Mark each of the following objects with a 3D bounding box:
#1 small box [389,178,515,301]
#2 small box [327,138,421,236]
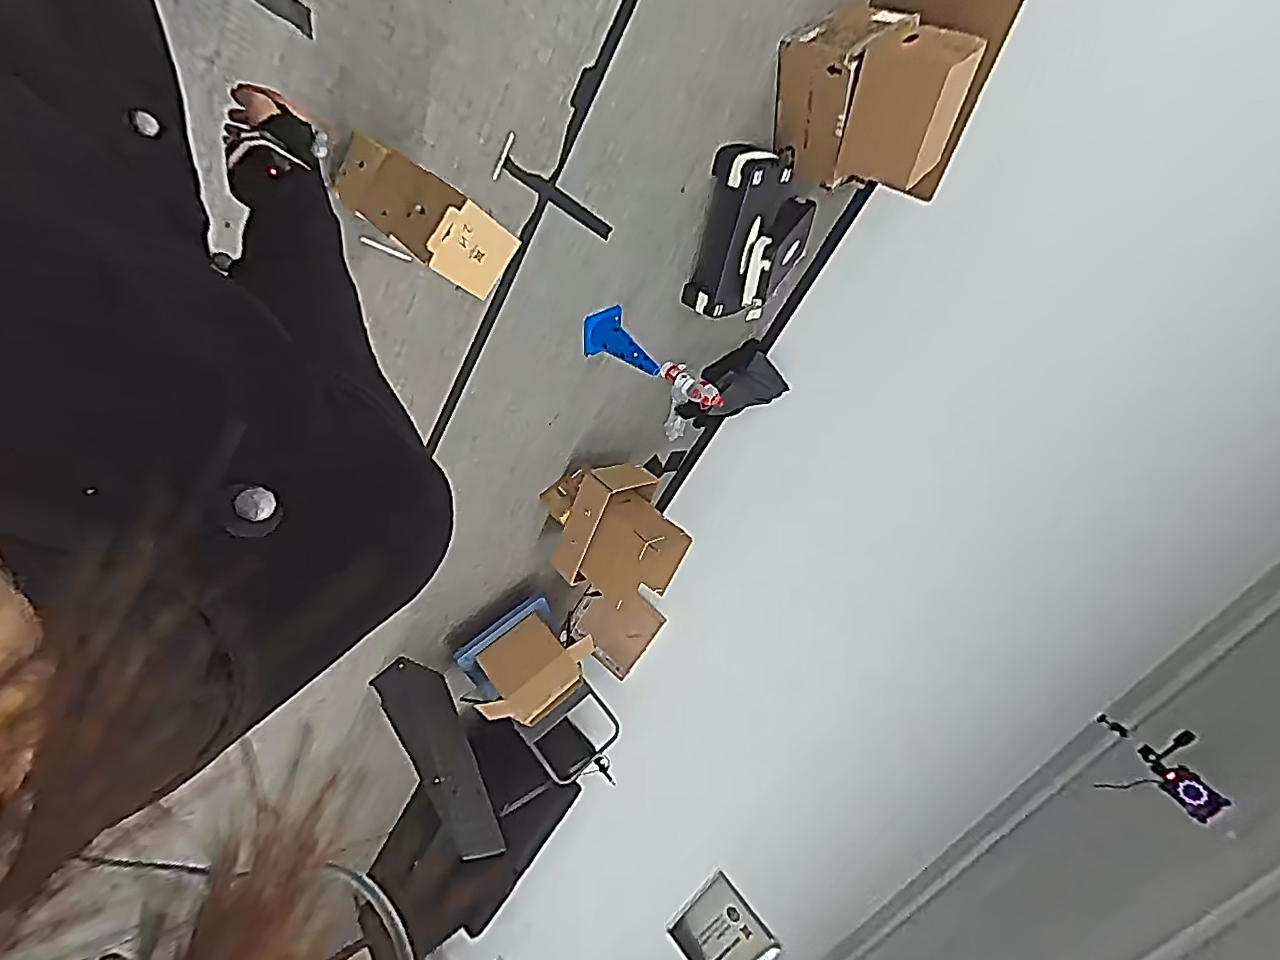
[{"bbox_3d":[-0.429,-0.551,1.238,0.168,0.176,0.179,-53,152,10],"label":"small box"},{"bbox_3d":[-0.661,-0.738,1.382,0.168,0.176,0.179,-56,152,14],"label":"small box"}]
